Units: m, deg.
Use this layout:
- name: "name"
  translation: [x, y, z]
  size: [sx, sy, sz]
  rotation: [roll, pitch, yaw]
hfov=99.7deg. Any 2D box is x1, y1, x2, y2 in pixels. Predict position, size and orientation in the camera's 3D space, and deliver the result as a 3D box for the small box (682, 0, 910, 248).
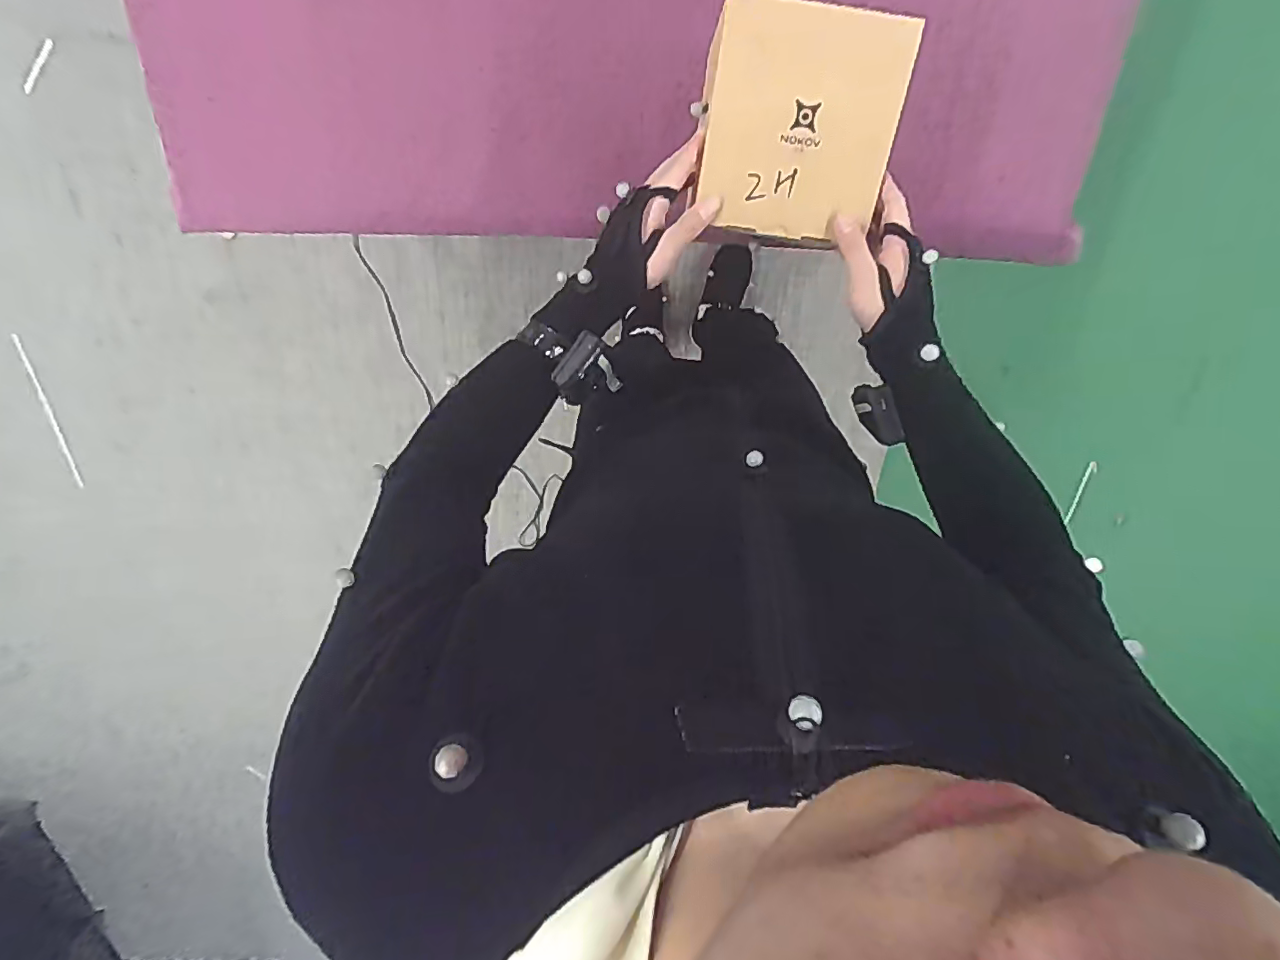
- name: "small box"
  translation: [0.137, -0.344, 0.554]
  size: [0.168, 0.176, 0.179]
  rotation: [8, 114, -1]
